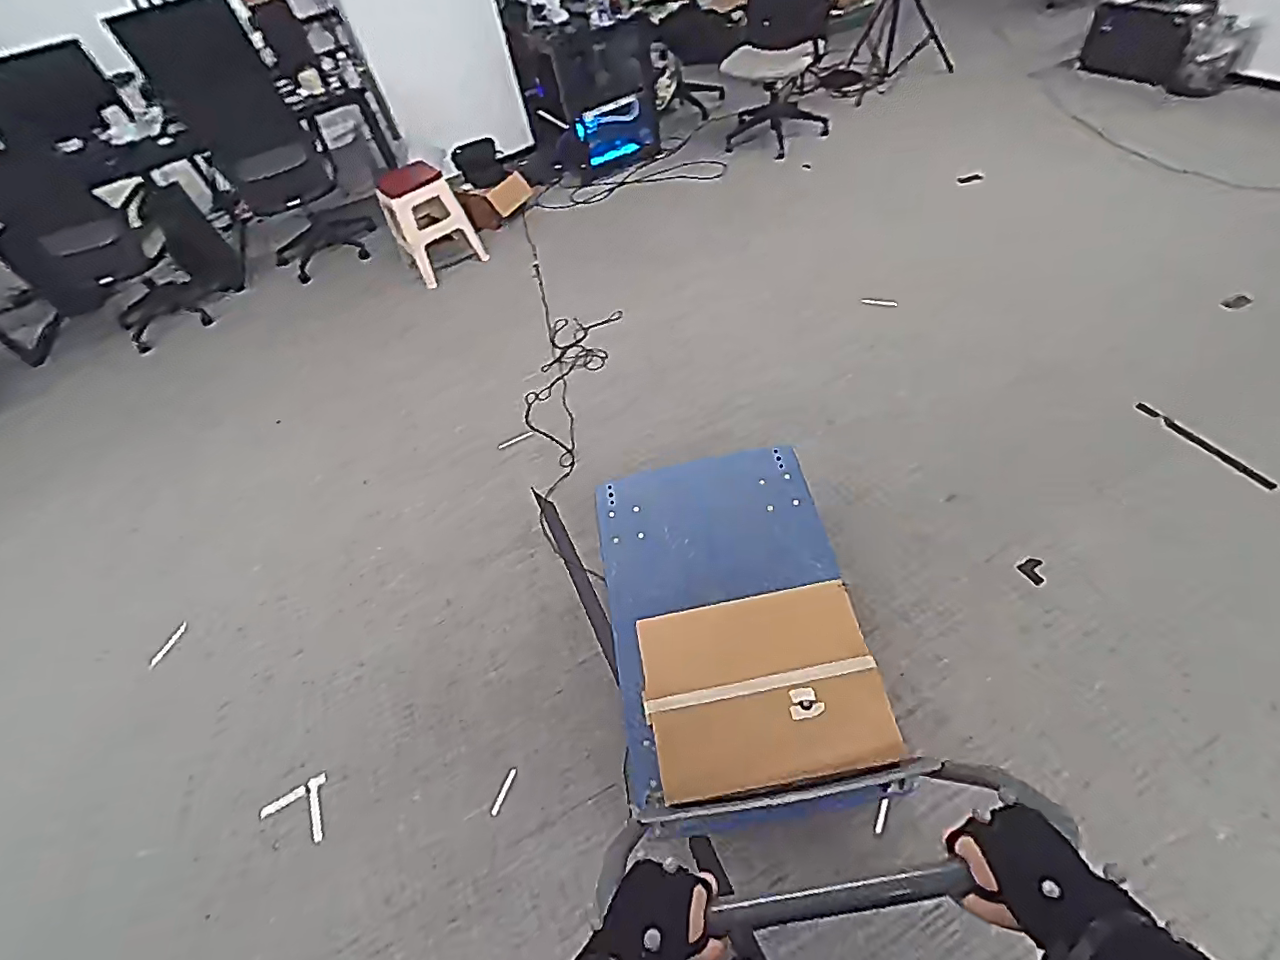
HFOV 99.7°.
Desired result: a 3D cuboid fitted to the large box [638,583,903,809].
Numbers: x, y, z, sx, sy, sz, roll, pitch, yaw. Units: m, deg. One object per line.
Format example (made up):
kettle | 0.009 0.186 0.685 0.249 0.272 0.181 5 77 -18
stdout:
large box | 0.234 0.446 1.099 0.408 0.320 0.320 -13 61 1
